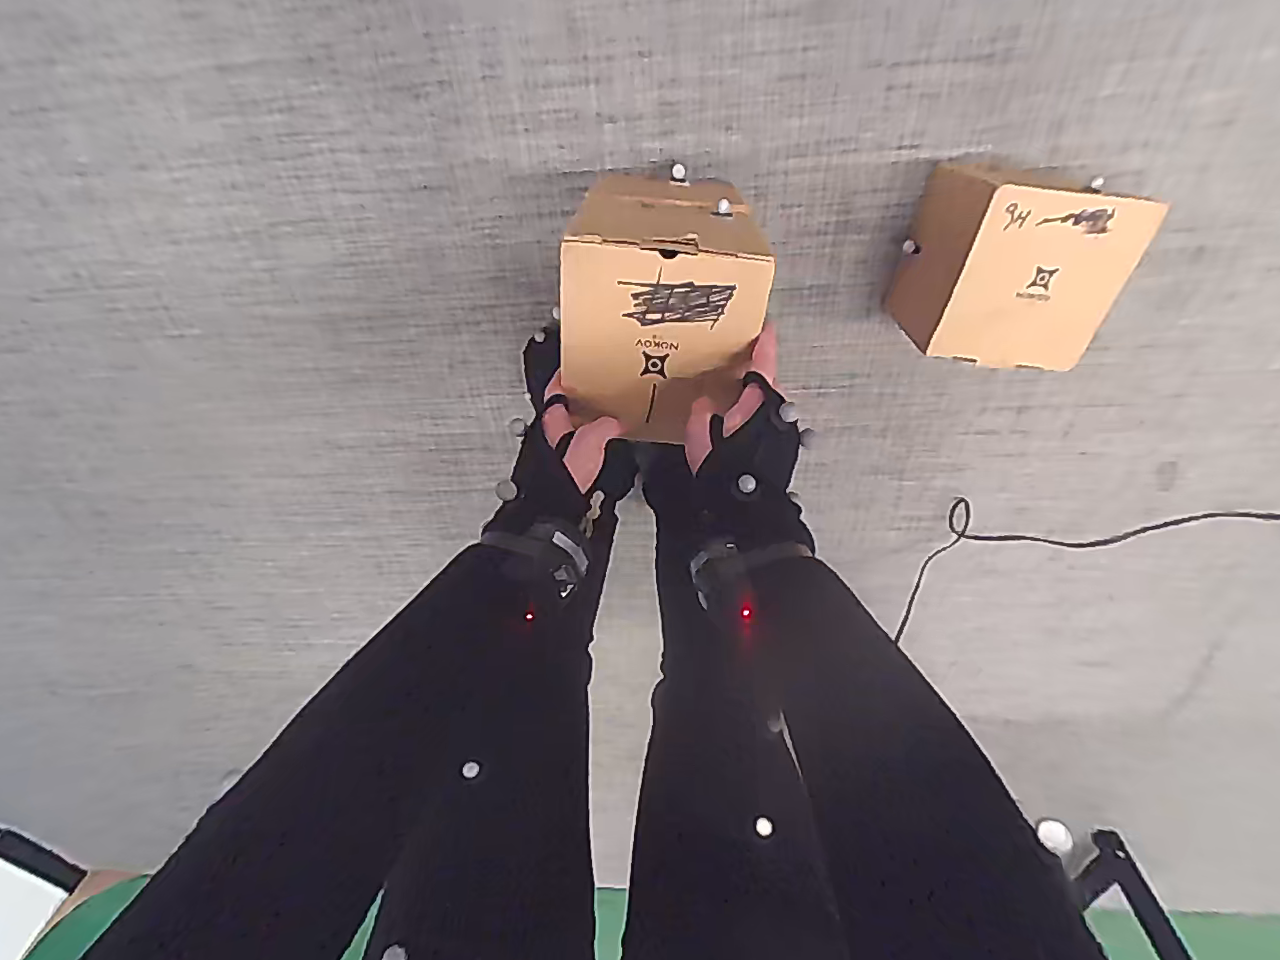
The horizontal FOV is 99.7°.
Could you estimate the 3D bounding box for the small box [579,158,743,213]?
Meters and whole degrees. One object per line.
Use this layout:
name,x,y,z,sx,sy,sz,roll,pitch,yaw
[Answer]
small box,0.020,-0.267,0.641,0.168,0.176,0.179,4,127,0

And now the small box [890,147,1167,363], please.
small box,0.408,-0.258,0.615,0.168,0.176,0.179,7,129,0

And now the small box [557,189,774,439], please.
small box,0.015,-0.162,0.514,0.168,0.176,0.179,6,129,-1
